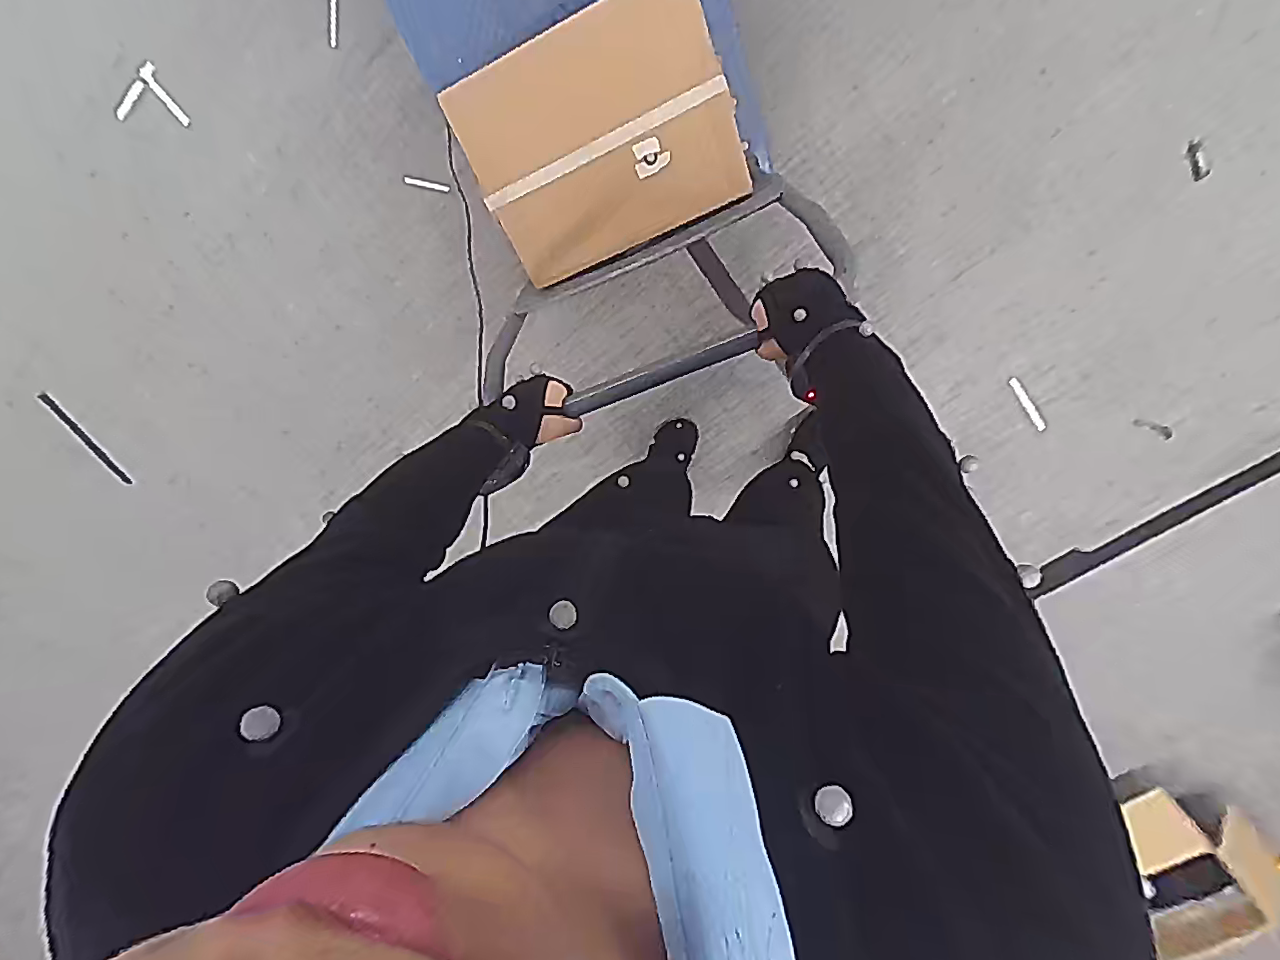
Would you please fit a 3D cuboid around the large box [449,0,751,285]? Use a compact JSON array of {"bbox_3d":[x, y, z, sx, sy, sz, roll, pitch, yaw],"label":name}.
[{"bbox_3d":[-0.057,-0.612,0.984,0.408,0.320,0.320,-20,121,12],"label":"large box"}]
